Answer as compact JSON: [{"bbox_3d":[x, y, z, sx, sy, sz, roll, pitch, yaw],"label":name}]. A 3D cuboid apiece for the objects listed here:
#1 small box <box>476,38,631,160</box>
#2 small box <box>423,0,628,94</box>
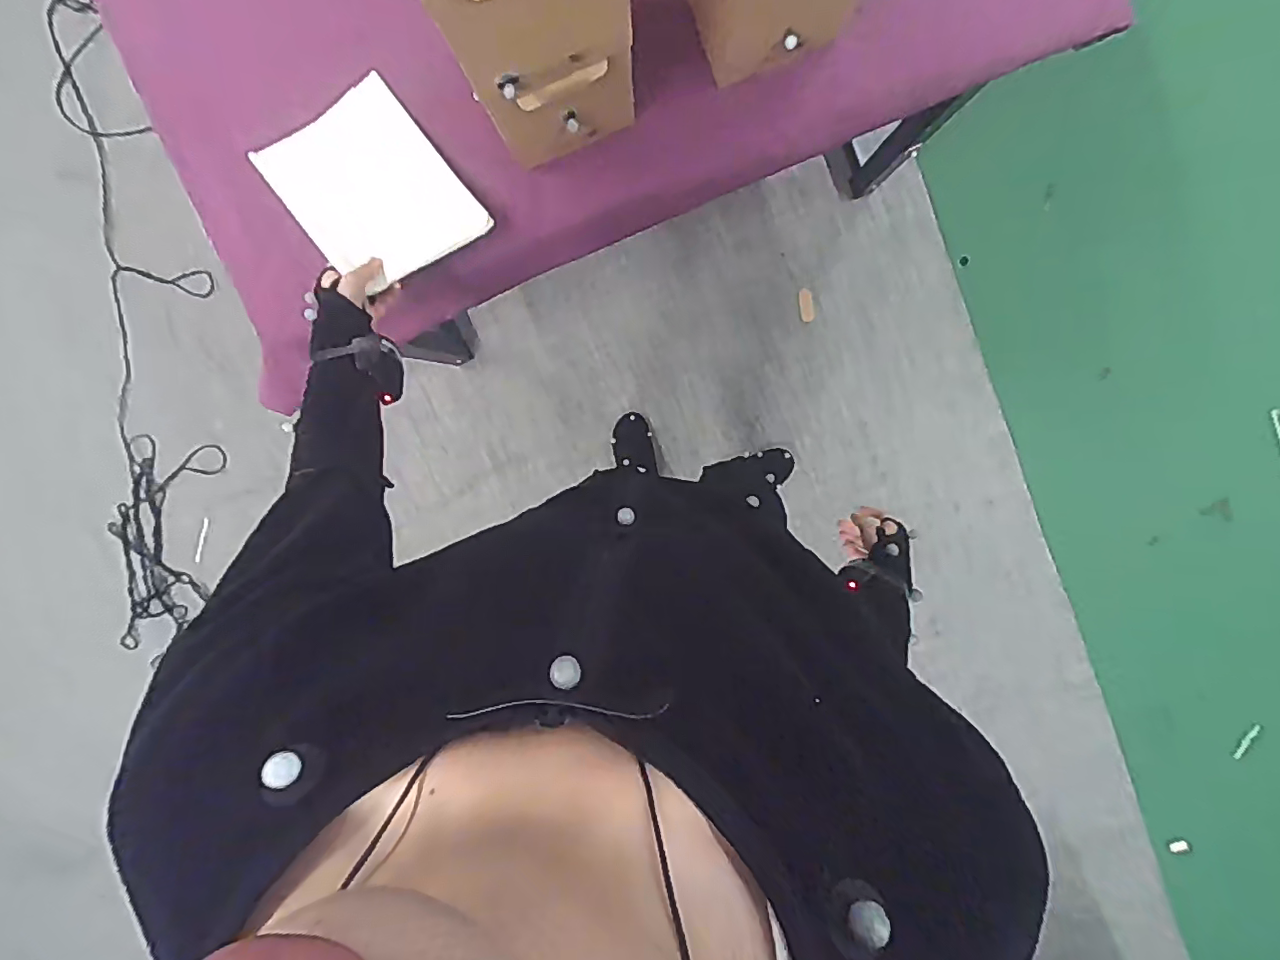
[{"bbox_3d":[-0.114,-0.506,0.627,0.168,0.176,0.179,-21,98,4],"label":"small box"},{"bbox_3d":[-0.115,-0.478,0.465,0.168,0.176,0.179,-21,96,4],"label":"small box"}]
